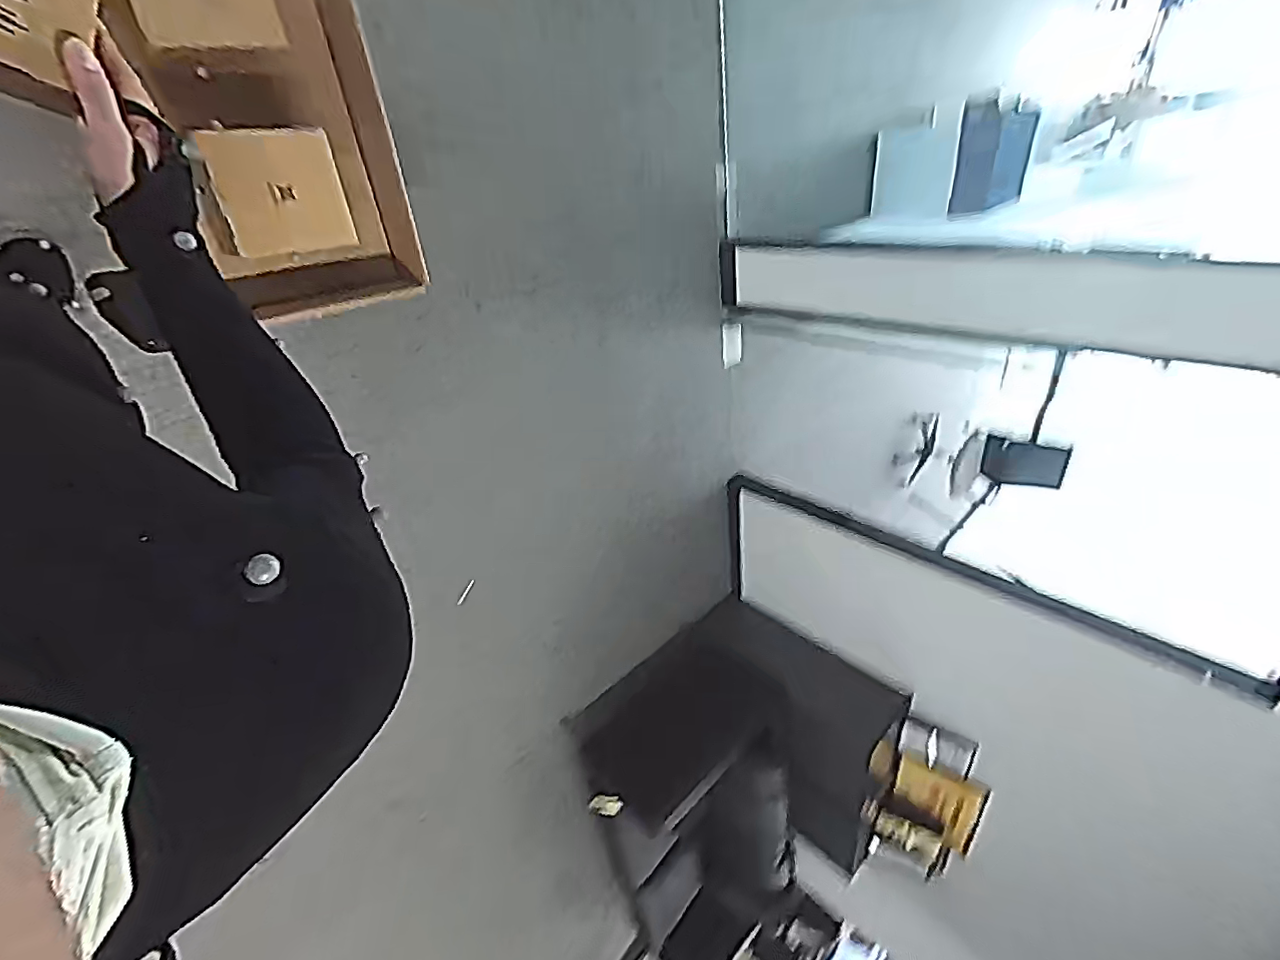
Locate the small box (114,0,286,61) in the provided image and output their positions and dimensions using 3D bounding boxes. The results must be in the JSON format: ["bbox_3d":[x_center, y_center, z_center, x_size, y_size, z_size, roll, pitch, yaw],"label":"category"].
[{"bbox_3d":[-0.624,-0.695,0.734,0.168,0.176,0.179,-29,129,-33],"label":"small box"}]
